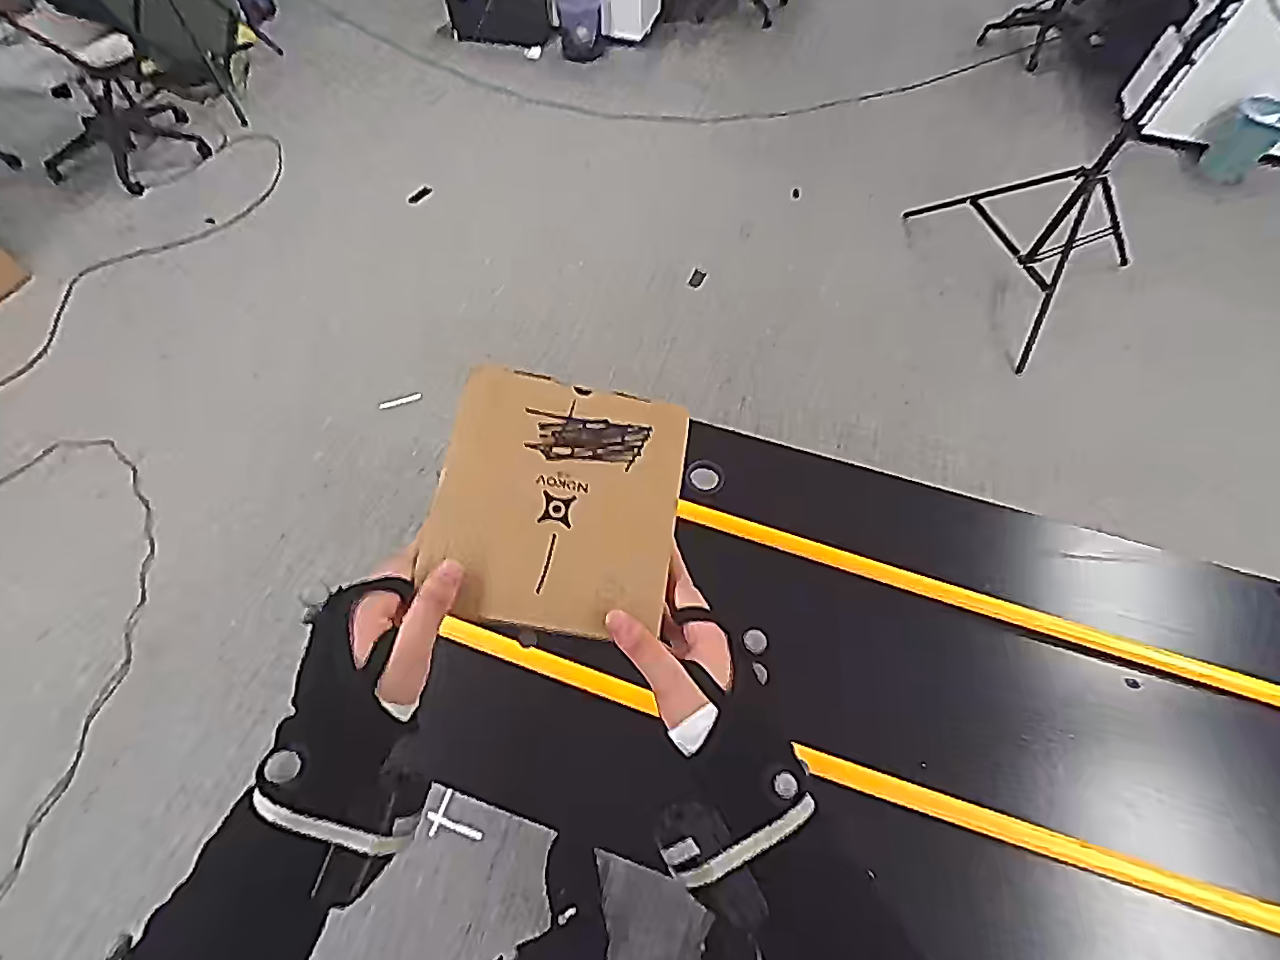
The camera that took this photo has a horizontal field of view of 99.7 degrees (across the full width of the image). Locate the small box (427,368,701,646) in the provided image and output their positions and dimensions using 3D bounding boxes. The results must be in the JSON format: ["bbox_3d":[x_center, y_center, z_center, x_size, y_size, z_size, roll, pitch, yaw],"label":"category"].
[{"bbox_3d":[-0.058,0.036,0.452,0.168,0.176,0.179,11,73,-6],"label":"small box"}]
